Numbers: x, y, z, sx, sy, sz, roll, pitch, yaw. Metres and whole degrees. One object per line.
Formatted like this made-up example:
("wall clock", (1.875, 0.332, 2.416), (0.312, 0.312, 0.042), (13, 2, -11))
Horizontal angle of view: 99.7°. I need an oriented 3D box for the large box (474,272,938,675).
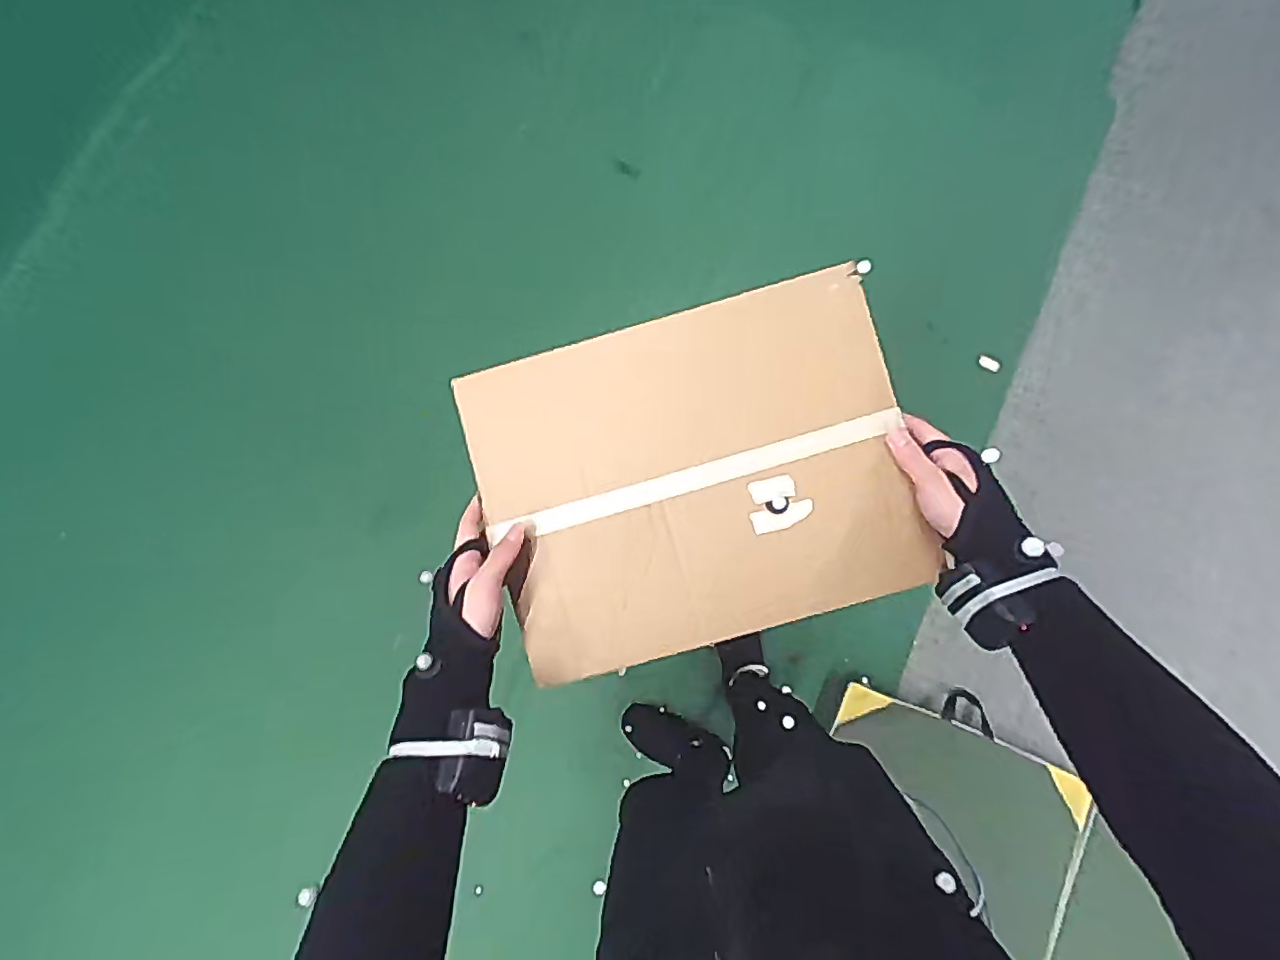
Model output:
("large box", (0.064, -0.001, 0.684), (0.408, 0.320, 0.320), (-16, 89, 1))
